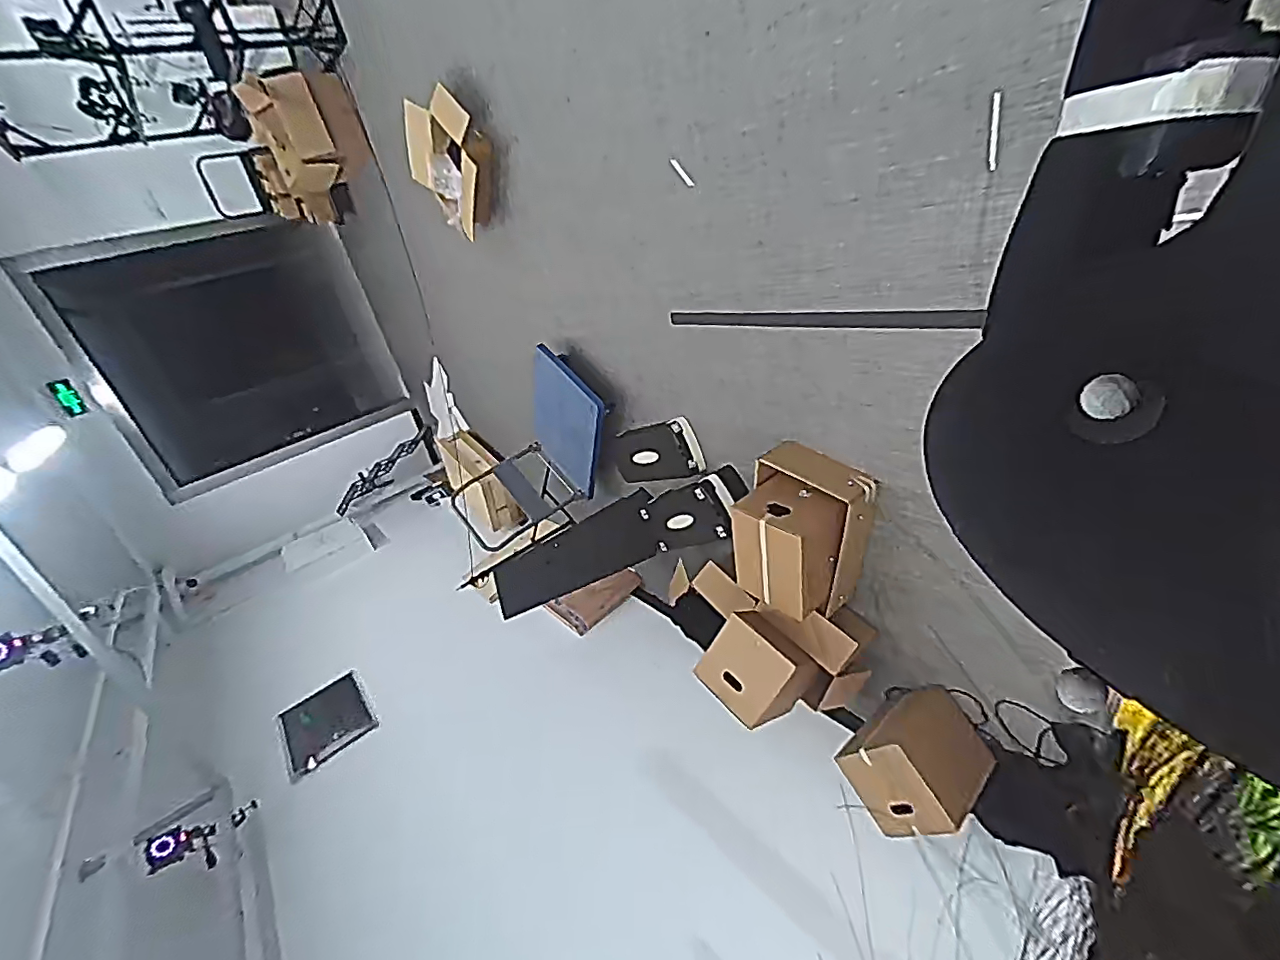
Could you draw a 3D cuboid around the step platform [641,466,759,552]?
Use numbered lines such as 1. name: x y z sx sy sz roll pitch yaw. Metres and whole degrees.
1. step platform: 0.265 0.163 2.666 0.286 0.204 0.684 60 150 -1
